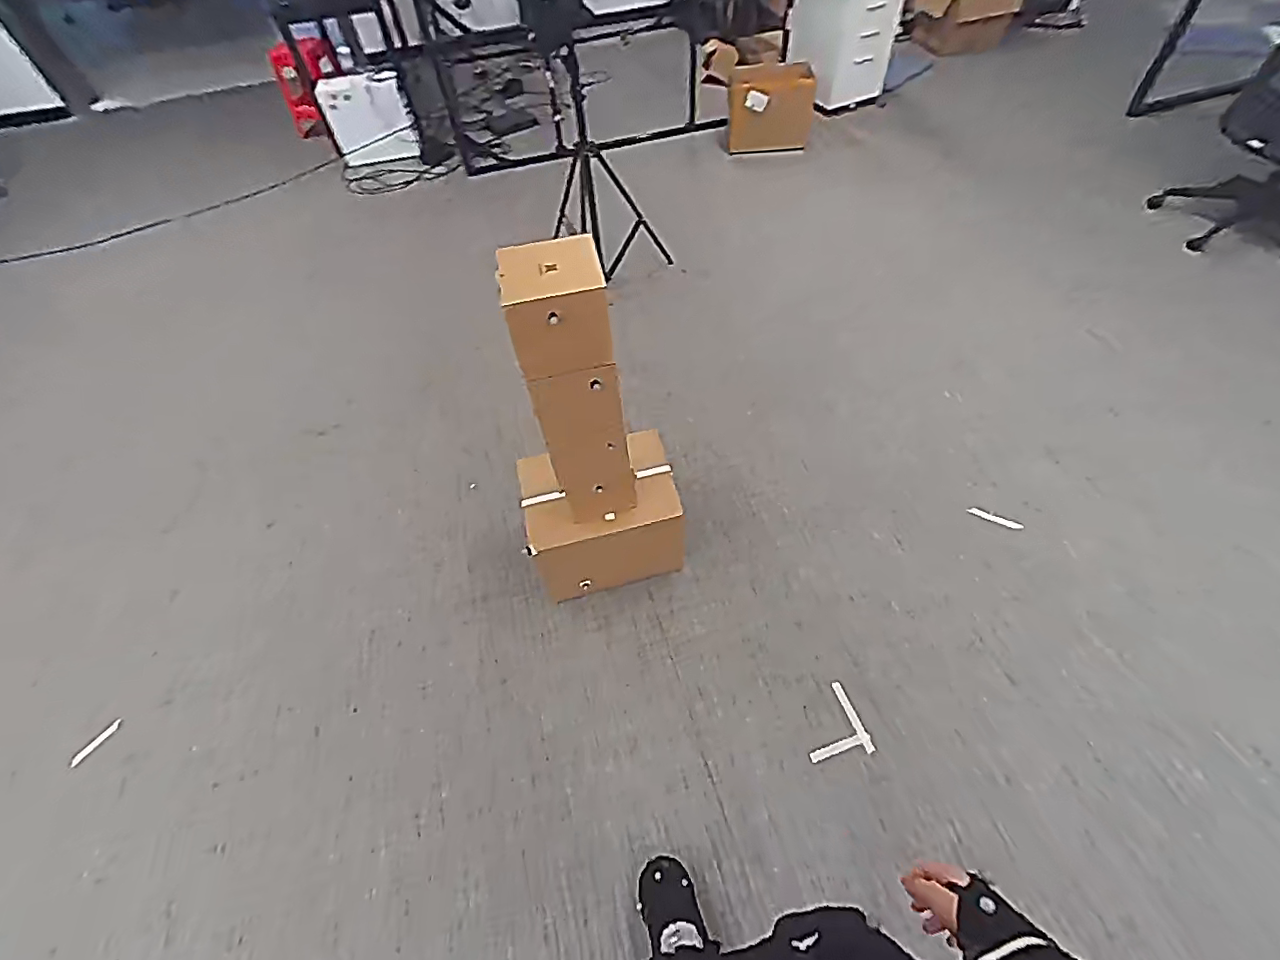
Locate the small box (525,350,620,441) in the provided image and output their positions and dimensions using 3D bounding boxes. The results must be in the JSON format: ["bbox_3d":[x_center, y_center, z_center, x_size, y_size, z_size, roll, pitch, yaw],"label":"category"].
[{"bbox_3d":[-0.140,-0.205,1.115,0.179,0.176,0.168,-13,54,-5],"label":"small box"}]

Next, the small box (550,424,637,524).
[{"bbox_3d":[-0.116,-0.010,1.379,0.179,0.176,0.168,-15,55,-7],"label":"small box"}]

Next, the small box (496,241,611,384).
[{"bbox_3d":[-0.151,-0.301,0.985,0.179,0.176,0.168,-13,55,-4],"label":"small box"}]
